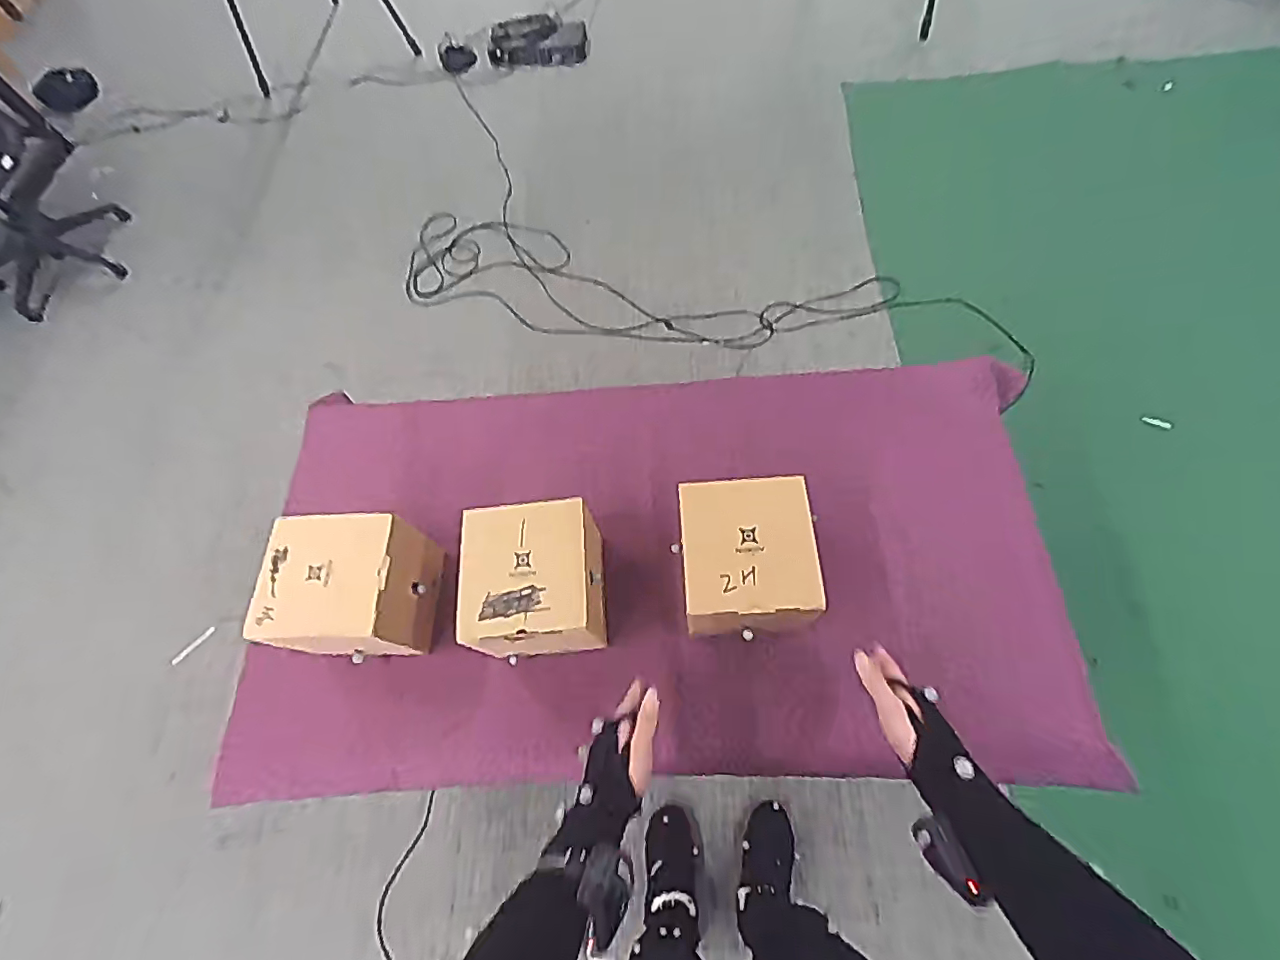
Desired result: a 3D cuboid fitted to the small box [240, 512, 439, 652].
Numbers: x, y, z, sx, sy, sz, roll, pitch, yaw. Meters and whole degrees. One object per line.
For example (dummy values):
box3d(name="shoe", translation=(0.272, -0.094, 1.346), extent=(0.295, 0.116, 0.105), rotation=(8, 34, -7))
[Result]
box3d(name="small box", translation=(-0.410, 0.151, 0.775), extent=(0.179, 0.176, 0.168), rotation=(-1, 66, 3))

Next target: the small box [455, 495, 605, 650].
box3d(name="small box", translation=(-0.143, 0.138, 0.758), extent=(0.168, 0.176, 0.179), rotation=(-6, 65, 2))

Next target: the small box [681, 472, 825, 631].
box3d(name="small box", translation=(0.143, 0.105, 0.747), extent=(0.168, 0.176, 0.179), rotation=(-4, 66, 4))
